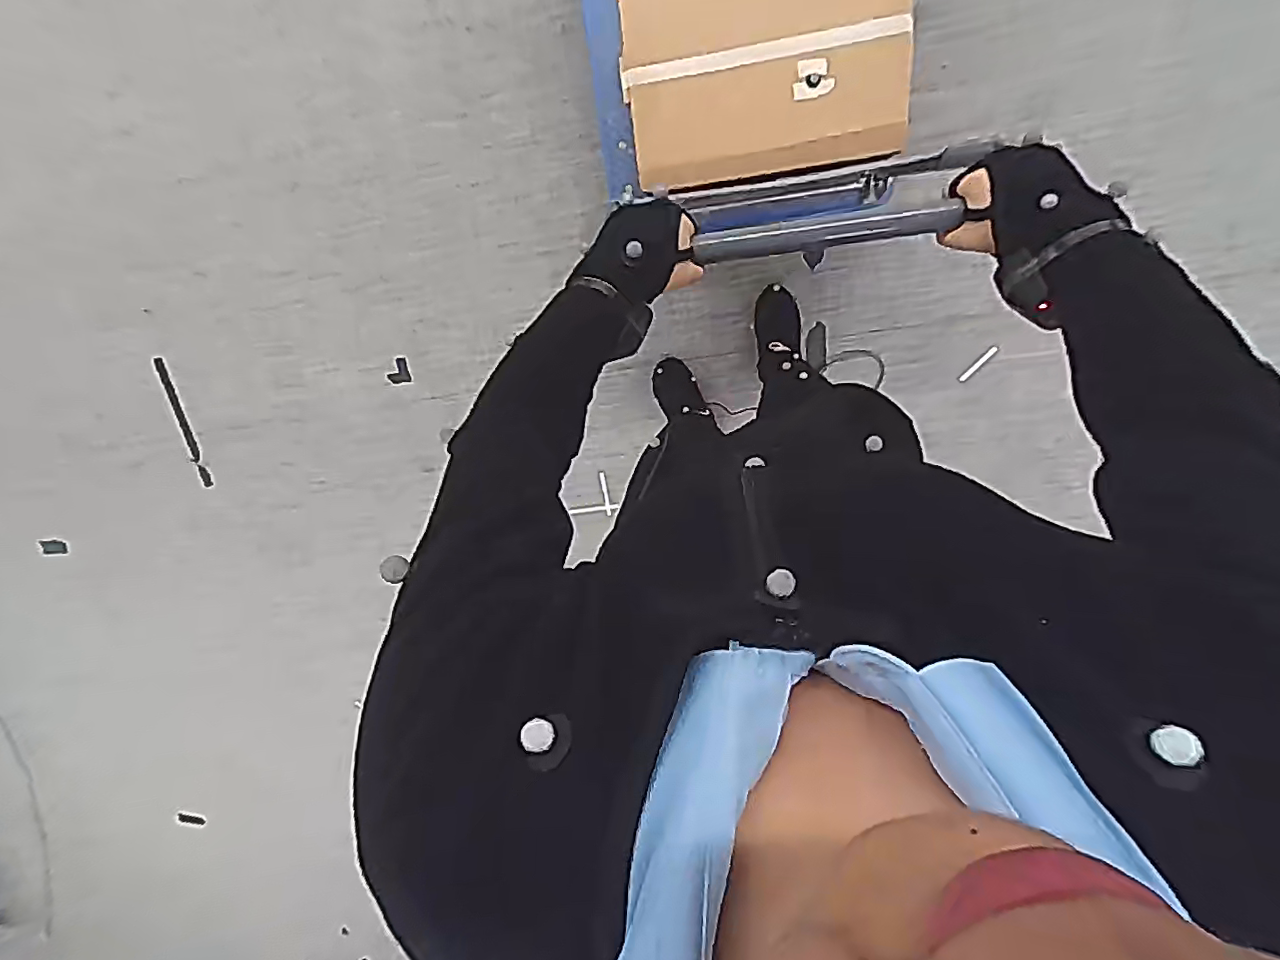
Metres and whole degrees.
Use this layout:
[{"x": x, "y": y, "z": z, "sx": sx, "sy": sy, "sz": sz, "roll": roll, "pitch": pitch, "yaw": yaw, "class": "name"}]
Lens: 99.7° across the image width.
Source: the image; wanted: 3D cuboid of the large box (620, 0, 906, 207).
[{"x": 0.193, "y": -0.684, "z": 0.934, "sx": 0.408, "sy": 0.320, "sz": 0.320, "roll": -6, "pitch": 113, "yaw": 7, "class": "large box"}]
